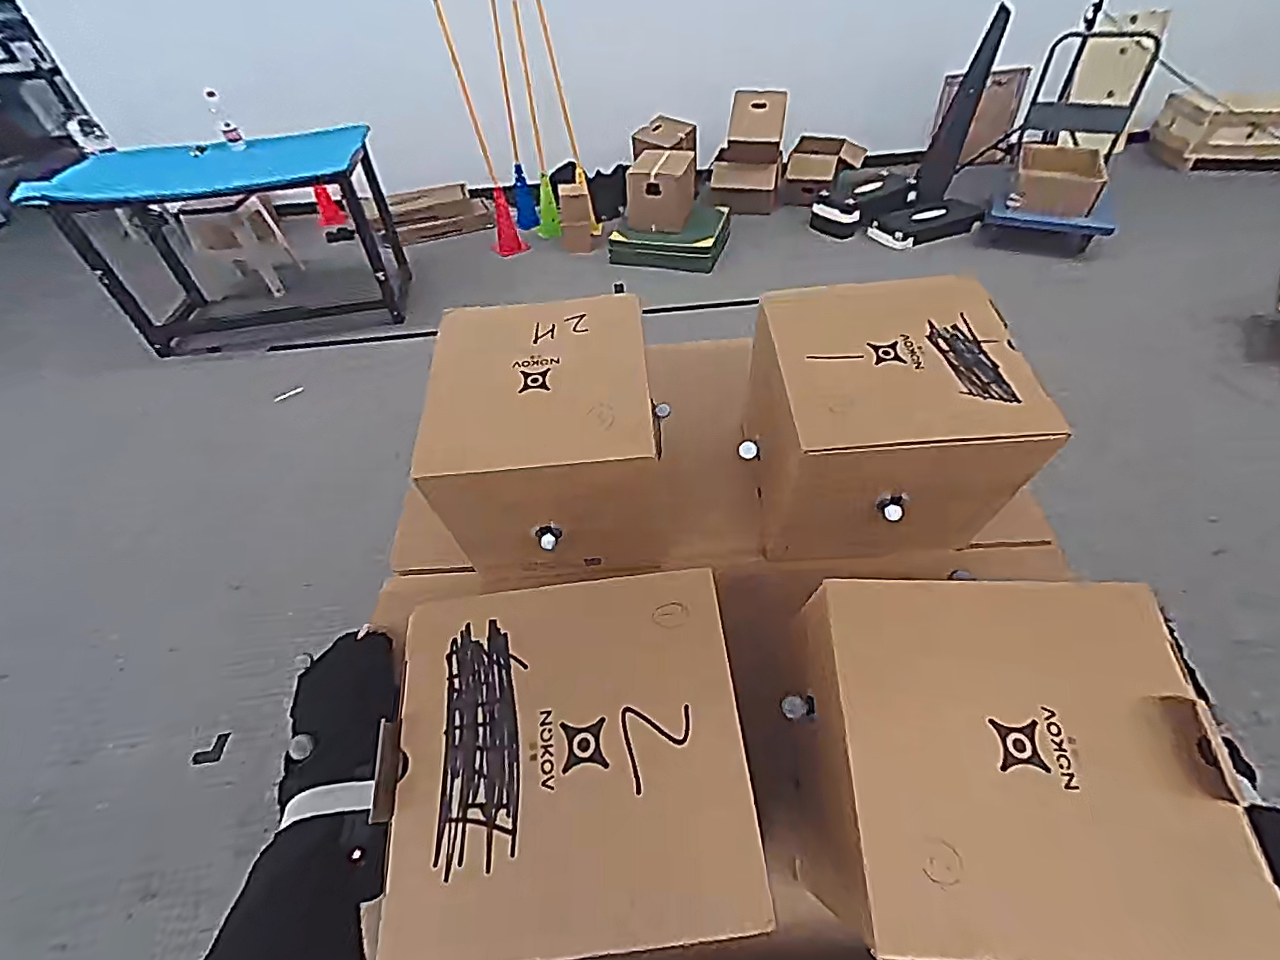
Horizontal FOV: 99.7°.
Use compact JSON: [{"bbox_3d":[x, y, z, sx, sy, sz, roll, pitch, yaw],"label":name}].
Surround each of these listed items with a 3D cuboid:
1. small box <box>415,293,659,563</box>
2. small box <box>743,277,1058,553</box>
[{"bbox_3d":[-0.071,-0.035,0.477,0.168,0.176,0.179,-4,56,1],"label":"small box"},{"bbox_3d":[0.191,-0.047,0.463,0.179,0.176,0.168,-3,57,3],"label":"small box"}]
